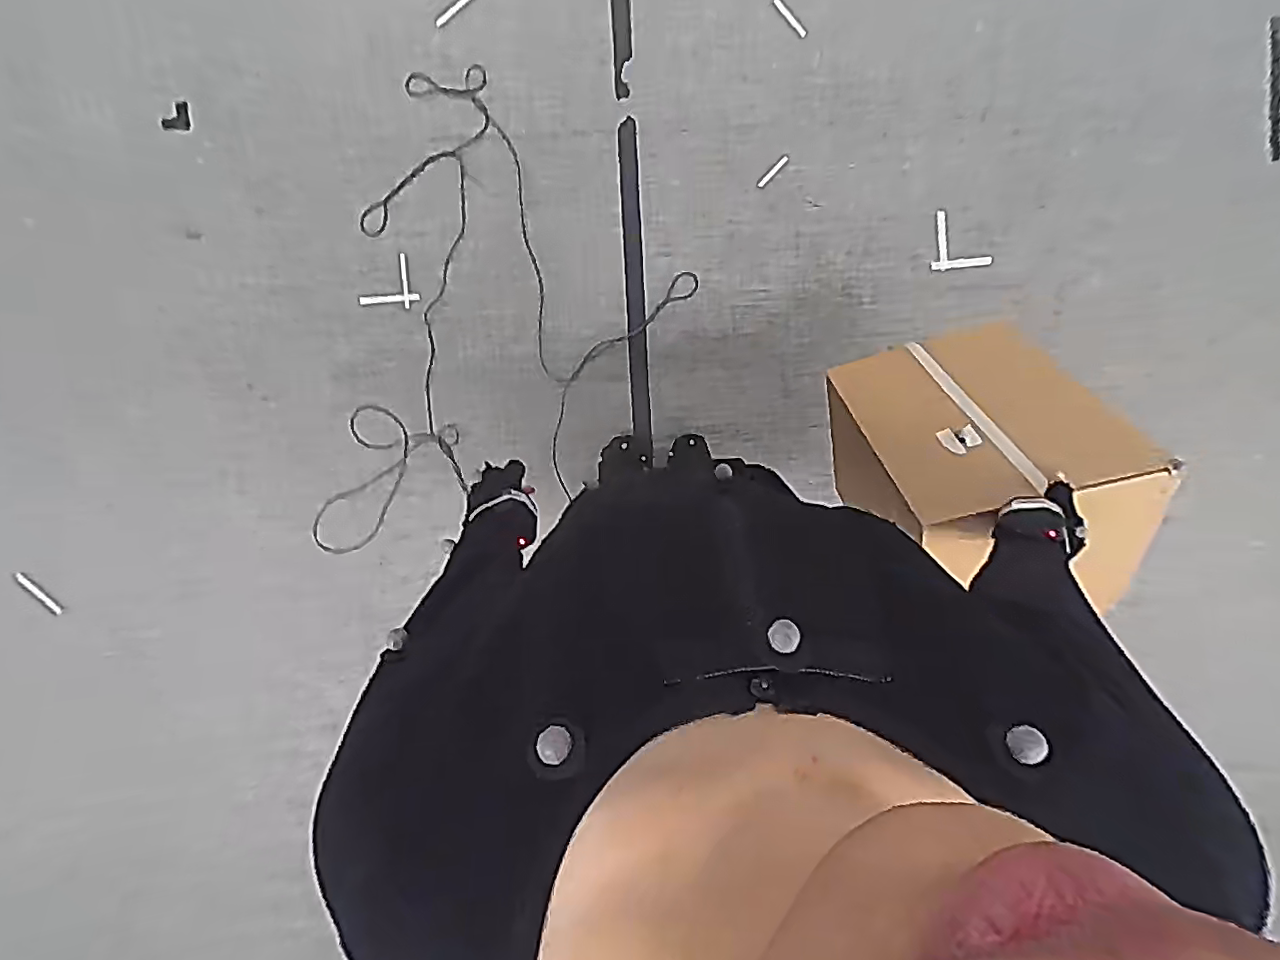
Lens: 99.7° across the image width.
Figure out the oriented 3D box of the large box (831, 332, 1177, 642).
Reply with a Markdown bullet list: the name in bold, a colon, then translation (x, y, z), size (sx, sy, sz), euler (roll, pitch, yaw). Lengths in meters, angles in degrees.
- **large box**: translation (0.556, 0.006, 0.943), size (0.320, 0.408, 0.320), euler (-15, 132, 8)
